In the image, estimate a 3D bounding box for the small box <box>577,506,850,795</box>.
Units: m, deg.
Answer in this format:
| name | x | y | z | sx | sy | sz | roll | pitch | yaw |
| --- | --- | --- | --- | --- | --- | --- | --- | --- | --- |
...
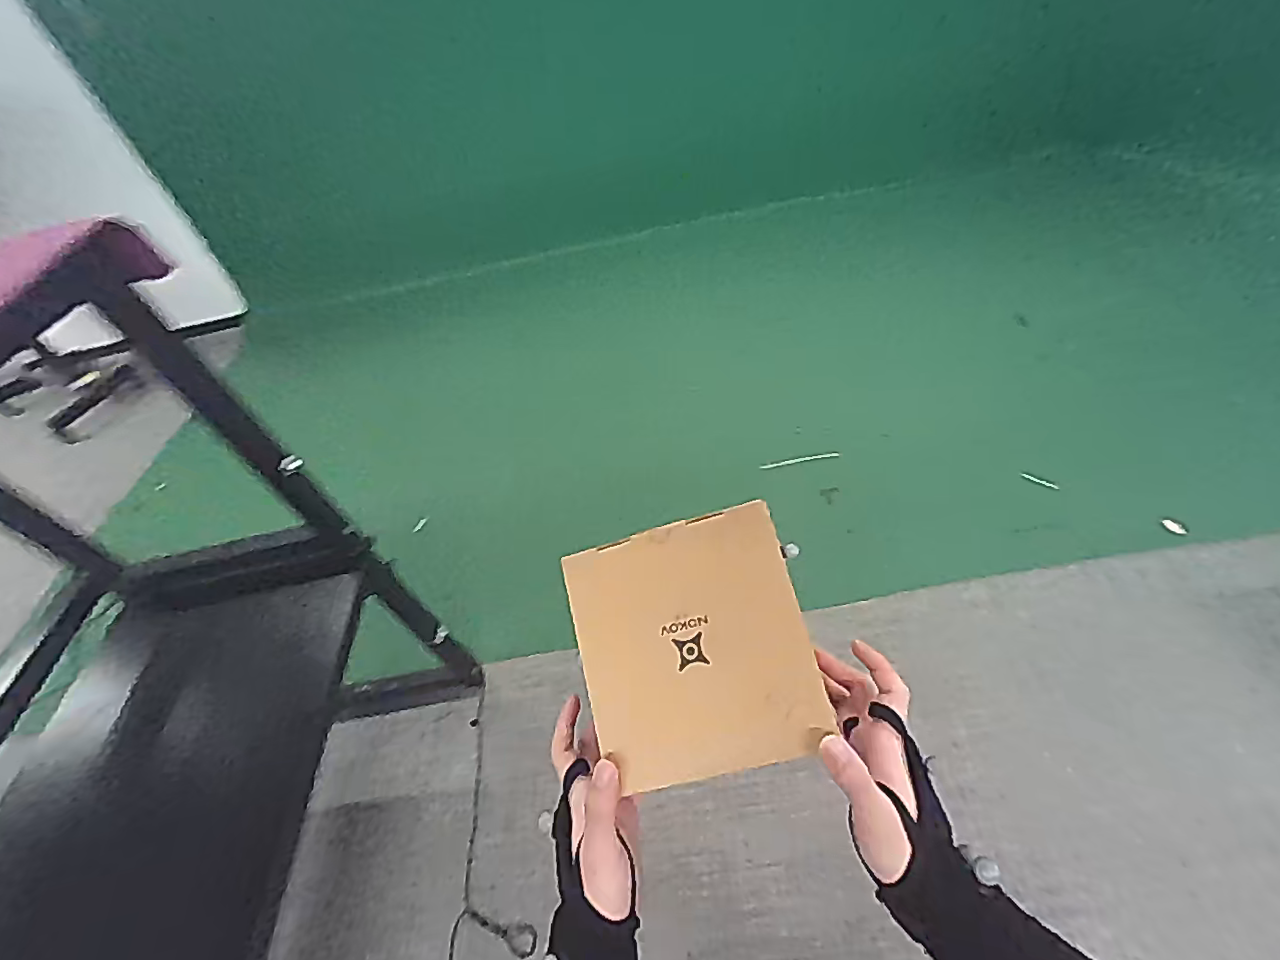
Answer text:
| name | x | y | z | sx | sy | sz | roll | pitch | yaw |
| --- | --- | --- | --- | --- | --- | --- | --- | --- | --- |
| small box | 0.064 | 0.139 | 0.466 | 0.168 | 0.176 | 0.179 | -17 | 72 | 9 |
